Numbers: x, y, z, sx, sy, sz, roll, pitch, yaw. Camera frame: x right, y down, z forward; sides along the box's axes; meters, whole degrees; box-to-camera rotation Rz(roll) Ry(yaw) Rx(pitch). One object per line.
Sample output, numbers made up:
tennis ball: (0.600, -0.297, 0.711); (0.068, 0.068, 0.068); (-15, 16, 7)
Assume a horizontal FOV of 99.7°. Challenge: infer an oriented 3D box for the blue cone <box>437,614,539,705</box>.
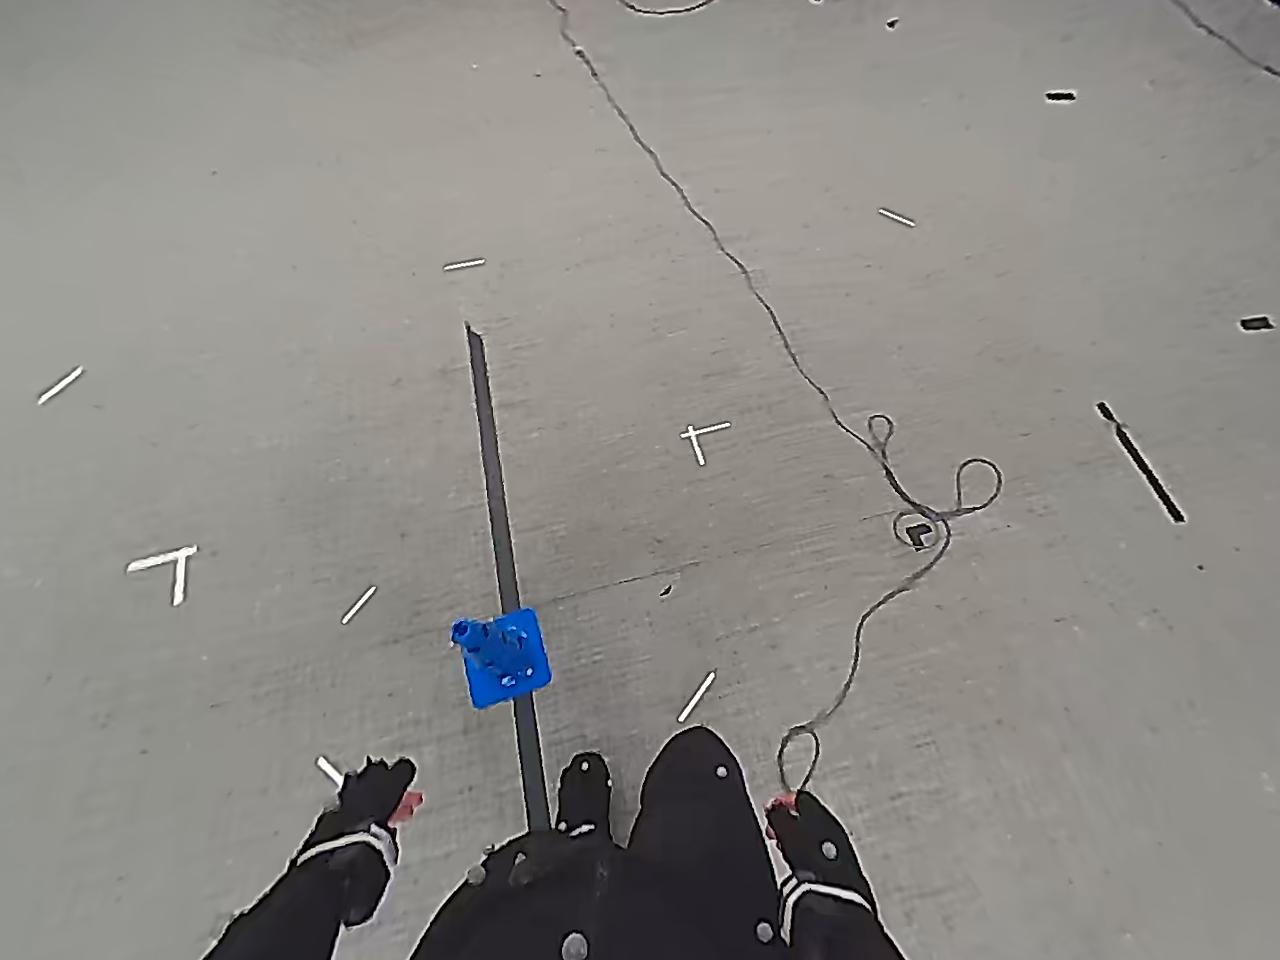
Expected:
blue cone: (-0.359, 0.372, 1.205); (0.192, 0.380, 0.193); (-16, 65, -6)
